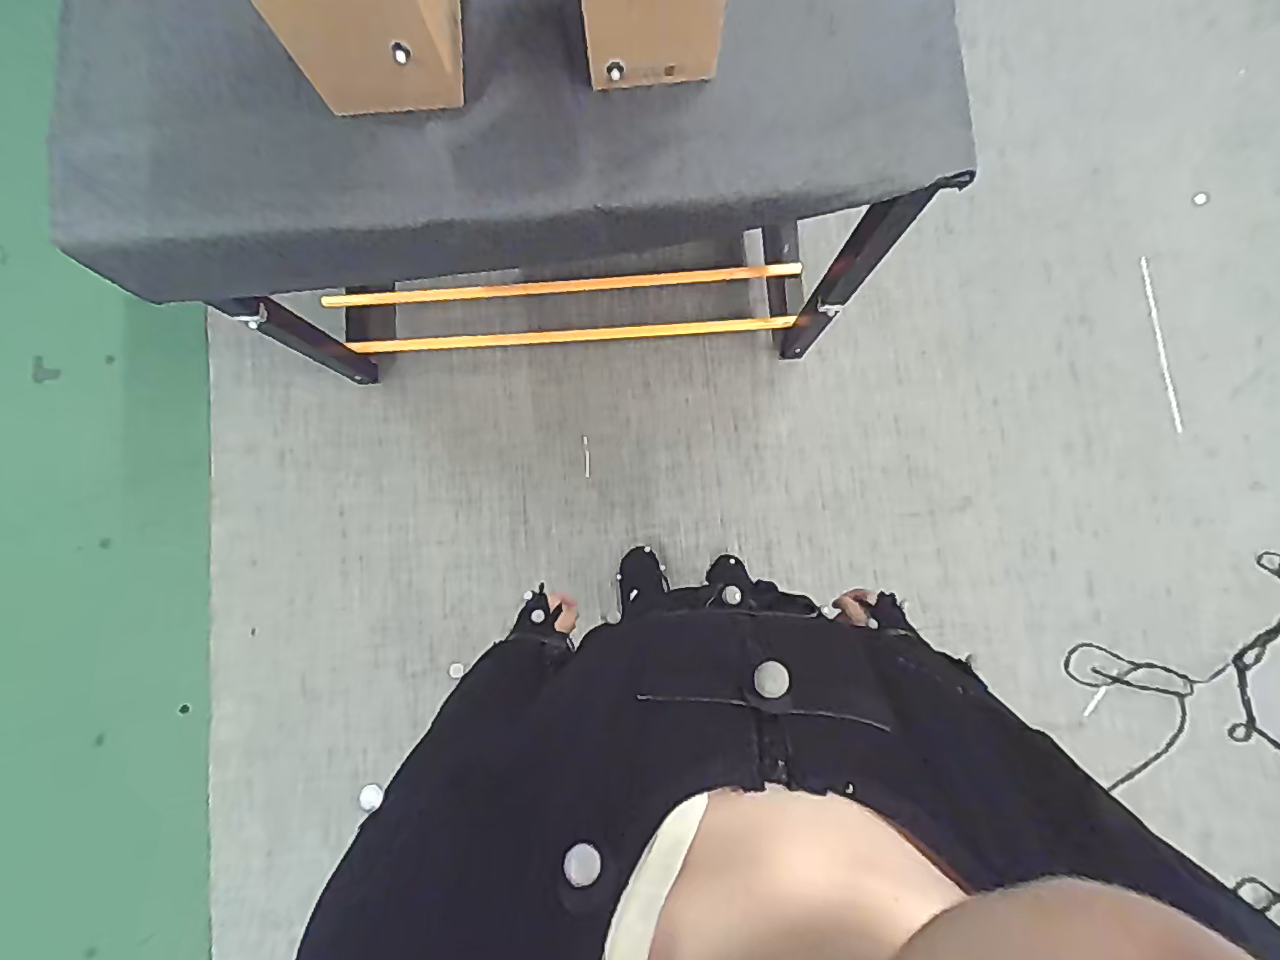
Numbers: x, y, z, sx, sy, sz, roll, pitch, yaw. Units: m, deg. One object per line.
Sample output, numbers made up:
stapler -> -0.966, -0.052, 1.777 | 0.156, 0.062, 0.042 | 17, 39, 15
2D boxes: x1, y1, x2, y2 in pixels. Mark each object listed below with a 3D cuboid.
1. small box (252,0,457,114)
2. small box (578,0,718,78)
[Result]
small box -> -0.329, -0.581, 0.651 | 0.179, 0.176, 0.168 | -4, 82, 1
small box -> 0.006, -0.623, 0.649 | 0.168, 0.176, 0.179 | -5, 82, 0
